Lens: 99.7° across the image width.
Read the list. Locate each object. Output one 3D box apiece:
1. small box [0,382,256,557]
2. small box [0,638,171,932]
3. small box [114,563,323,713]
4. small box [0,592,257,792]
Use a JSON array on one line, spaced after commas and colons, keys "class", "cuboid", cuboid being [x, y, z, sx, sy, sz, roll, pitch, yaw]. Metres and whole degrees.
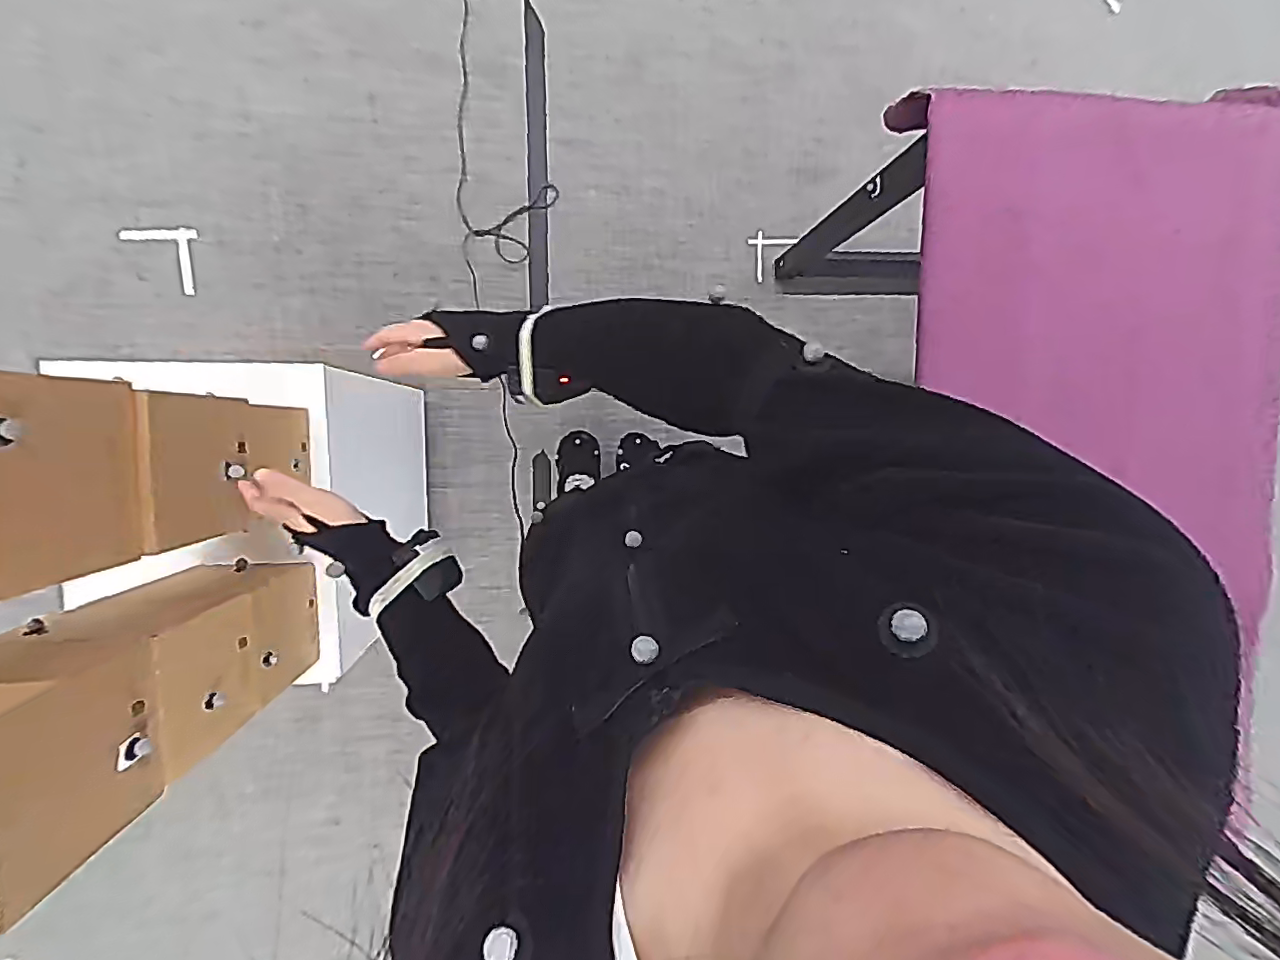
[{"class": "small box", "cuboid": [-0.564, -0.015, 0.593, 0.179, 0.176, 0.168, 1, 96, -7]}, {"class": "small box", "cuboid": [-0.555, 0.245, 0.455, 0.179, 0.176, 0.168, -2, 96, -7]}, {"class": "small box", "cuboid": [-0.590, 0.218, 0.778, 0.179, 0.176, 0.168, 0, 95, -5]}, {"class": "small box", "cuboid": [-0.571, 0.232, 0.617, 0.179, 0.176, 0.168, -2, 95, -6]}]
